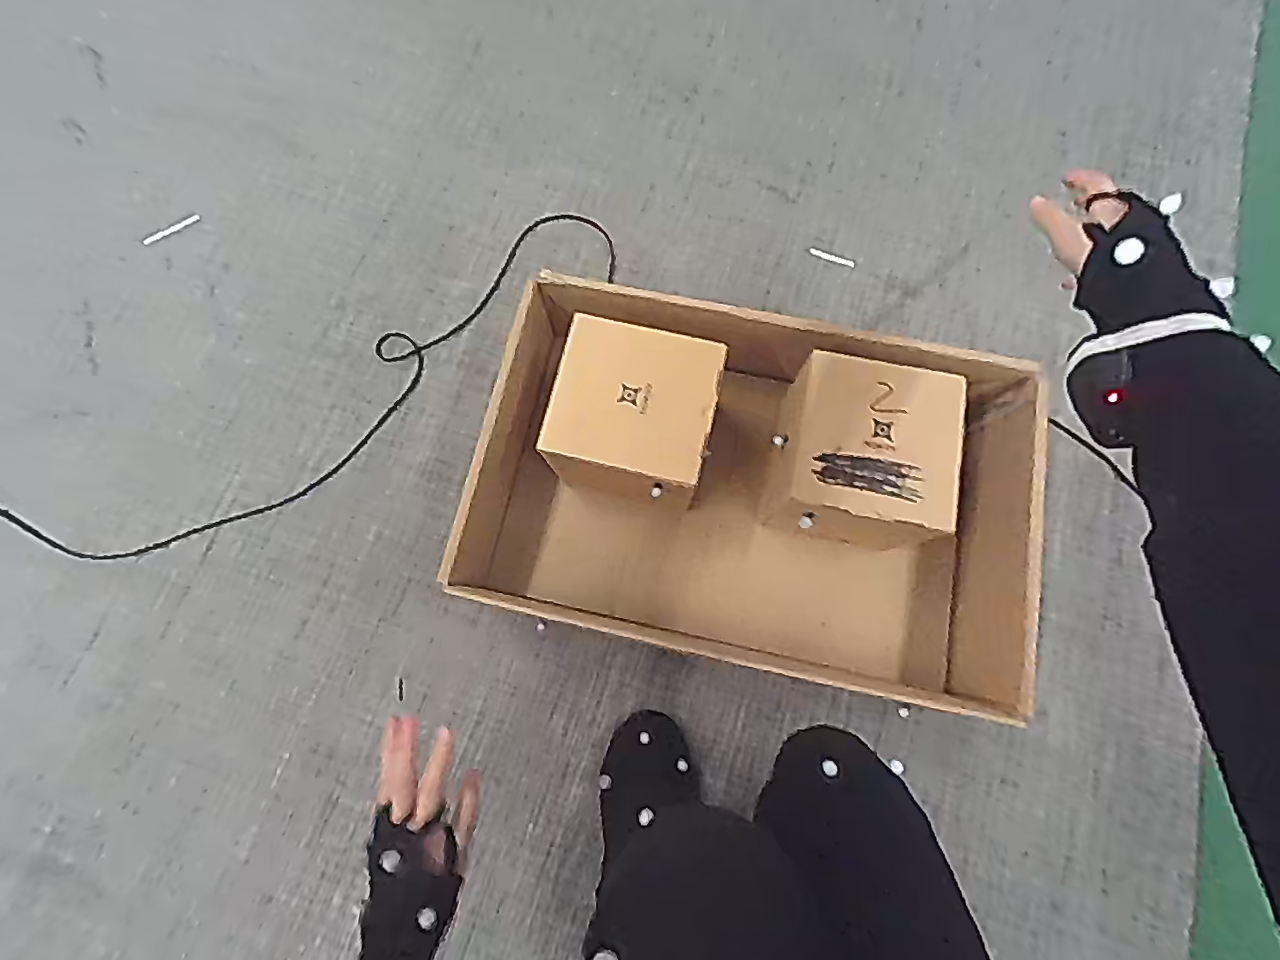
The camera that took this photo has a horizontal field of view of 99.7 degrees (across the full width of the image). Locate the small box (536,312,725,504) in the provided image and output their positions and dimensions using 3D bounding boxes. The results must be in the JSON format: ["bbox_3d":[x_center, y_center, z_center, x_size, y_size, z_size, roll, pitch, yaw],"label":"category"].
[{"bbox_3d":[-0.008,-0.076,0.661,0.179,0.176,0.168,13,78,3],"label":"small box"}]
